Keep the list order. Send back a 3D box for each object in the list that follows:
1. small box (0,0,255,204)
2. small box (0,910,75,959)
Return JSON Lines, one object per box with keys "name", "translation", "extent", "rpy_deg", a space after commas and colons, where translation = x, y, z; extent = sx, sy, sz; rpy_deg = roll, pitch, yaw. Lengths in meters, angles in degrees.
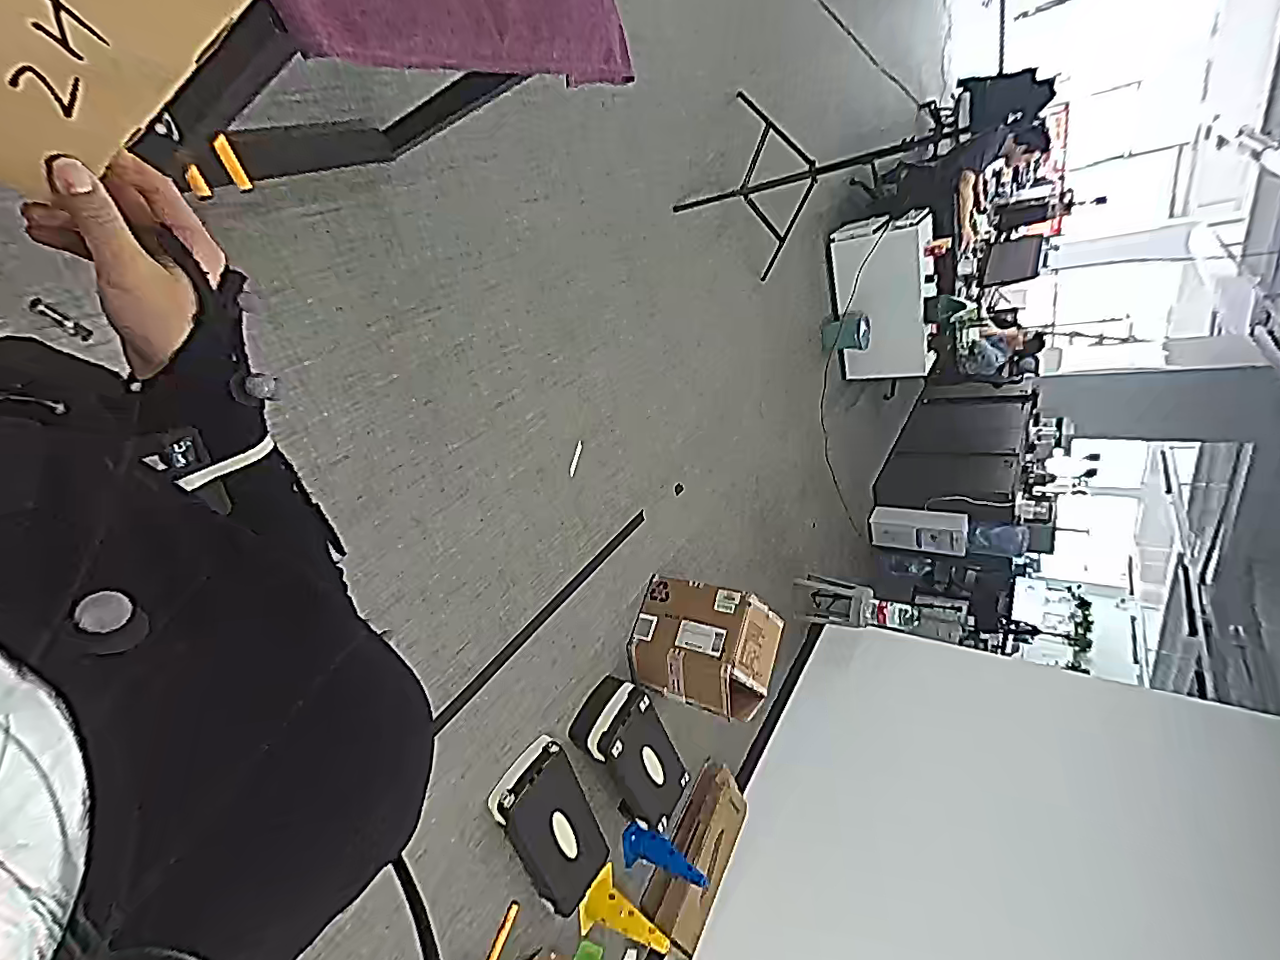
{"name": "small box", "translation": [-0.313, -0.262, 0.207], "extent": [0.168, 0.176, 0.179], "rpy_deg": [-46, 171, 2]}
{"name": "small box", "translation": [-0.952, 0.753, 0.759], "extent": [0.168, 0.176, 0.179], "rpy_deg": [-48, 130, -38]}
